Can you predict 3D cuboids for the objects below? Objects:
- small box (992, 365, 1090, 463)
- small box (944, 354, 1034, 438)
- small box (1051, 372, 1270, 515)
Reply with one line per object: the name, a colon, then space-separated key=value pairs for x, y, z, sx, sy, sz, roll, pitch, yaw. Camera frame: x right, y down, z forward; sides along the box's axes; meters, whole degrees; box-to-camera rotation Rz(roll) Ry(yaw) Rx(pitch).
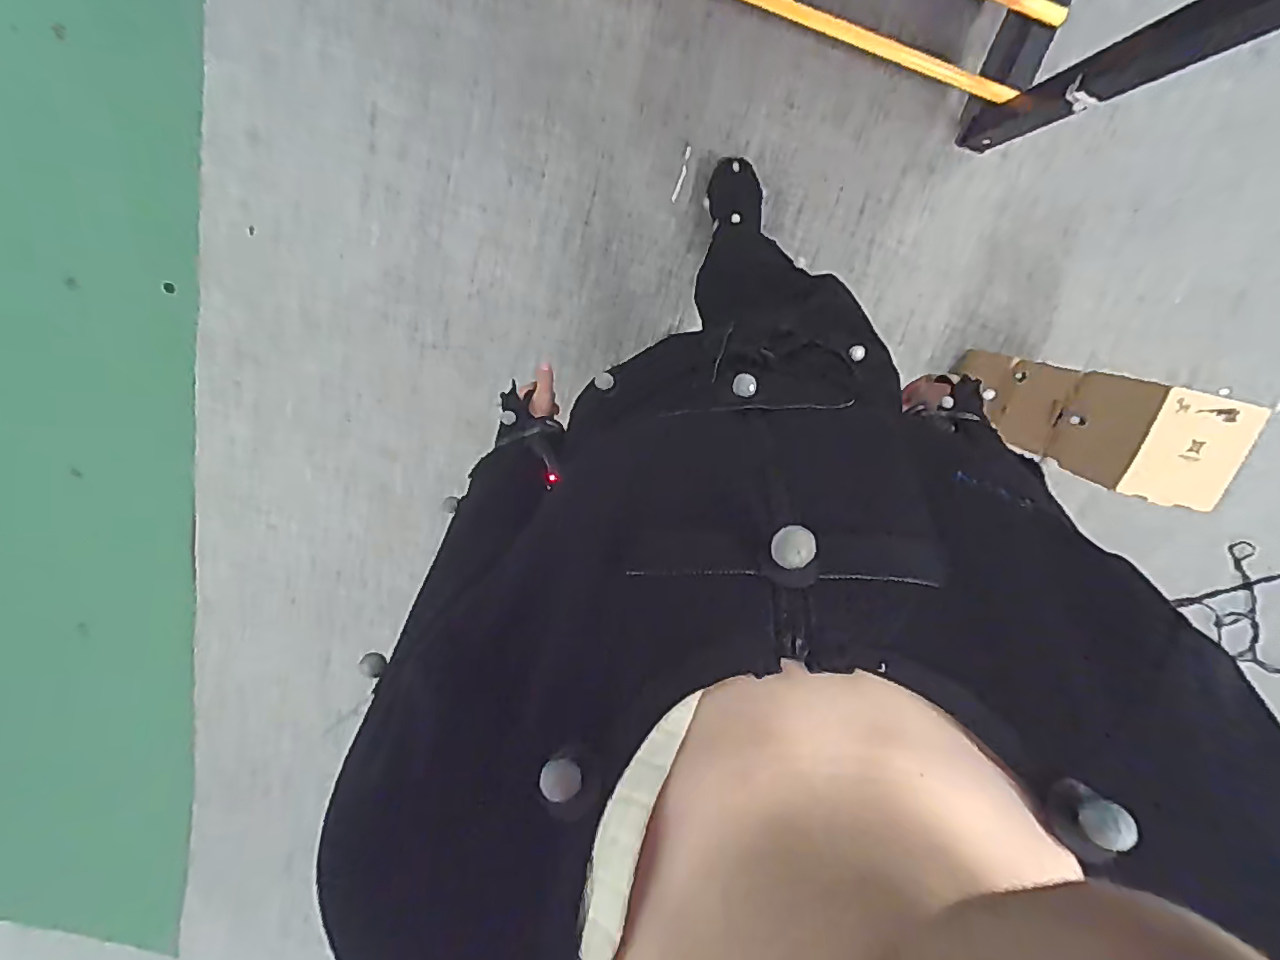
small box: x=0.841 y=-0.122 z=1.058 sx=0.179 sy=0.176 sz=0.168 roll=12 pitch=109 yaw=-4
small box: x=0.832 y=-0.180 z=1.211 sx=0.179 sy=0.176 sz=0.168 roll=11 pitch=109 yaw=-3
small box: x=0.842 y=-0.067 z=0.903 sx=0.168 sy=0.176 sz=0.179 roll=12 pitch=110 yaw=-4
